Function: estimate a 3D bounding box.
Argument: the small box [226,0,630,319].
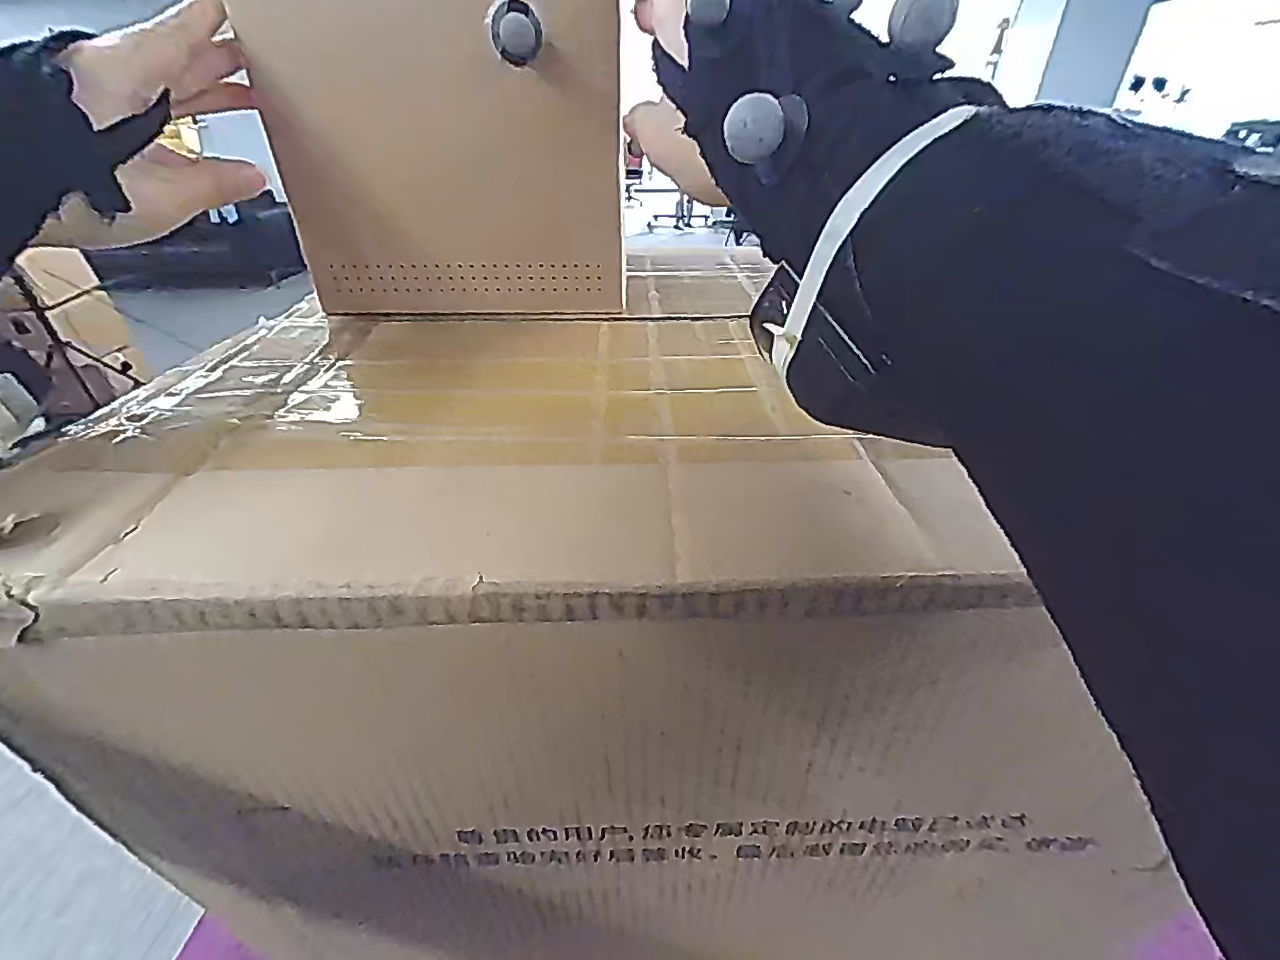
[{"bbox_3d":[-0.095,-0.204,0.333,0.179,0.176,0.168,-1,33,-1],"label":"small box"}]
